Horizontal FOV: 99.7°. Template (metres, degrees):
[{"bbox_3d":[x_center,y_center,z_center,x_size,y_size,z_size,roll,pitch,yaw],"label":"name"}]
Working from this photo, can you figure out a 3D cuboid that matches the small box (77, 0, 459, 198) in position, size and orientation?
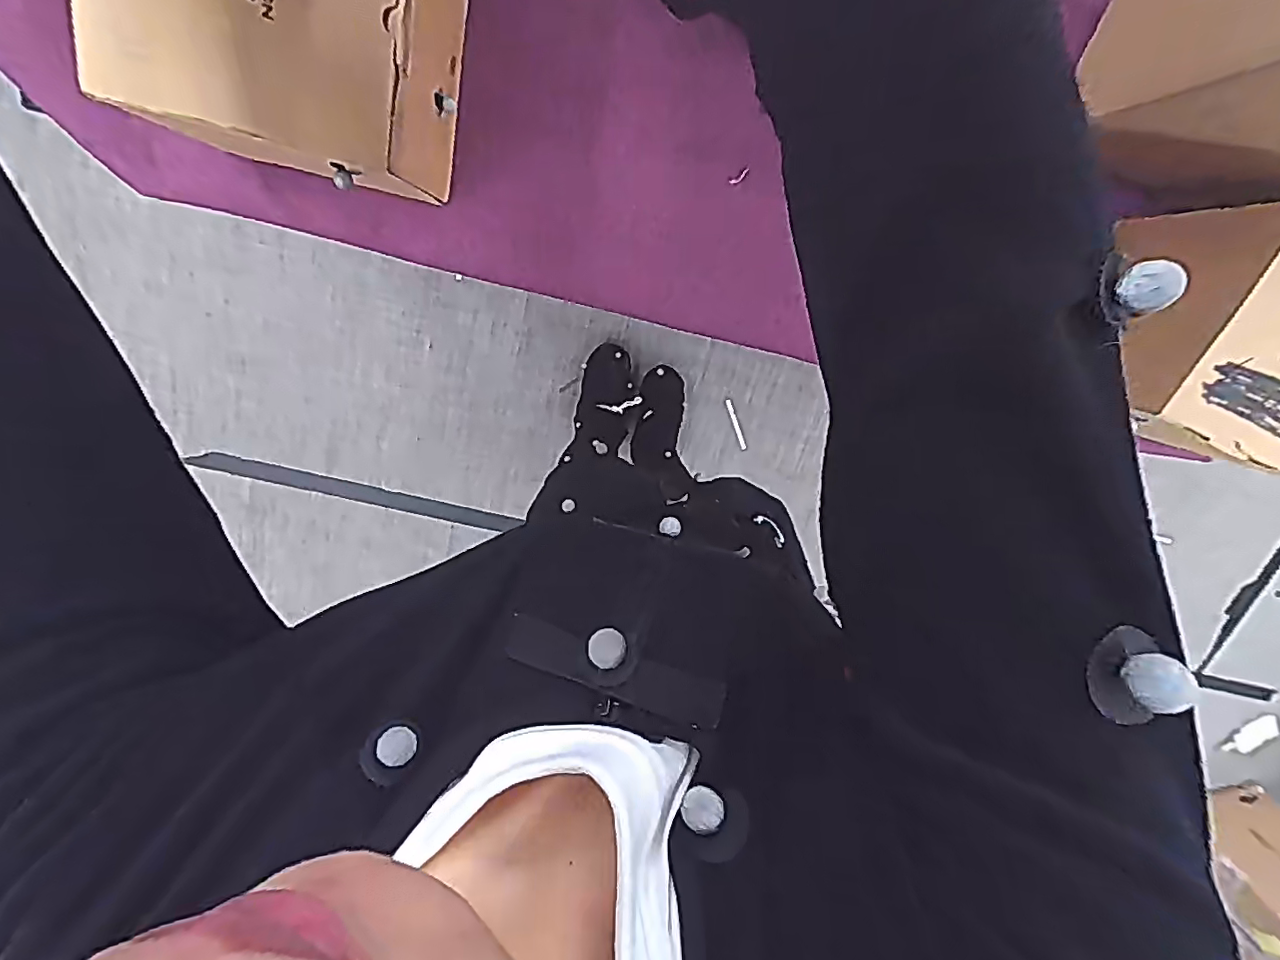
[{"bbox_3d":[-0.244,-0.319,0.391,0.179,0.176,0.168,9,109,-11],"label":"small box"}]
